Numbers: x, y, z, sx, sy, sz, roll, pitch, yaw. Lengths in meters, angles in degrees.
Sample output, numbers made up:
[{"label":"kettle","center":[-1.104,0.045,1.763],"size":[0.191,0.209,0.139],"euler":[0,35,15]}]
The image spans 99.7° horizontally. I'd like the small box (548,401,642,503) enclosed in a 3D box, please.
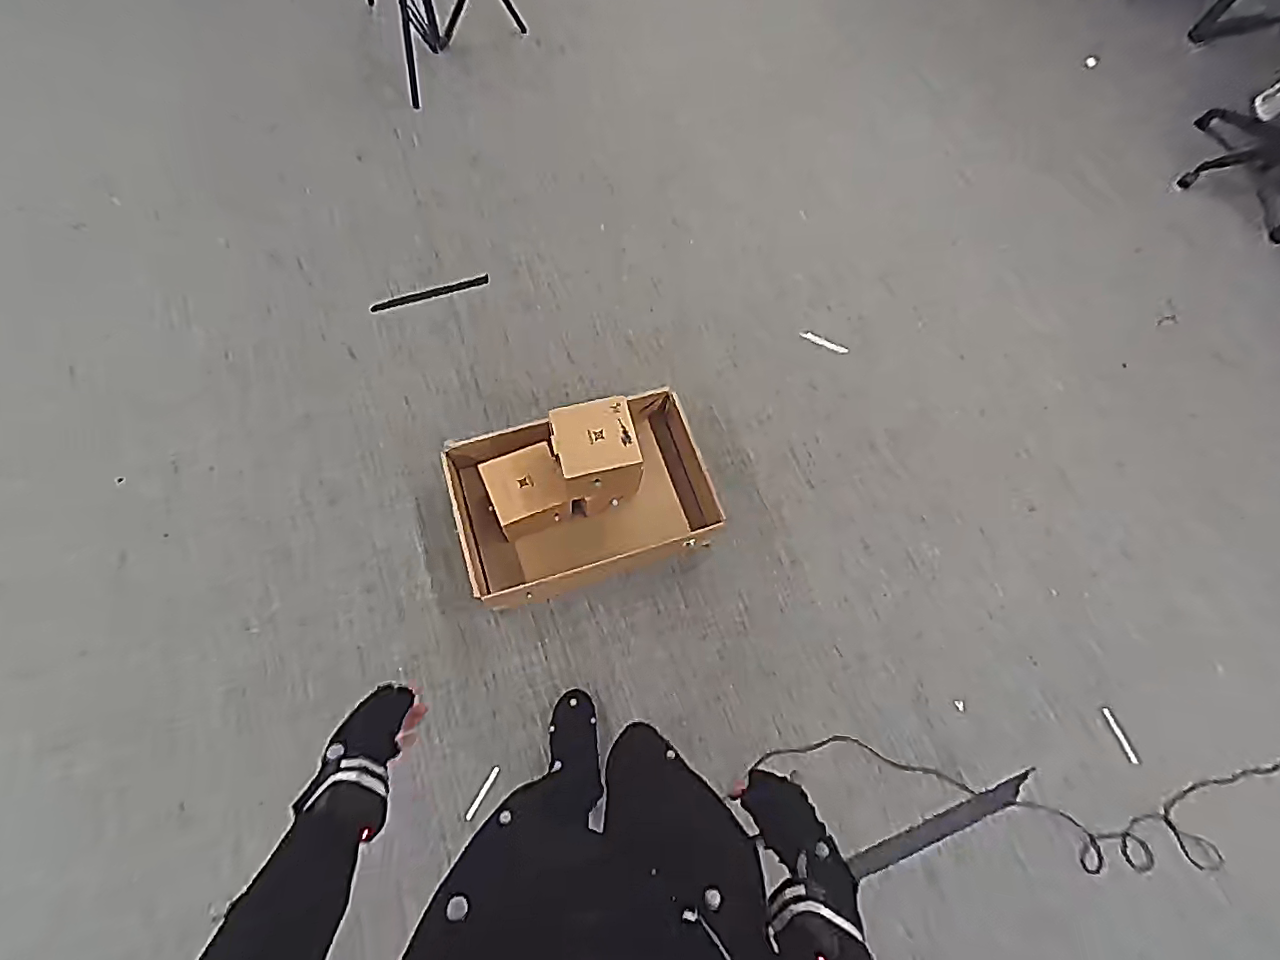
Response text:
[{"label":"small box","center":[-0.102,-0.057,1.242],"size":[0.179,0.176,0.168],"euler":[-13,73,-8]}]
